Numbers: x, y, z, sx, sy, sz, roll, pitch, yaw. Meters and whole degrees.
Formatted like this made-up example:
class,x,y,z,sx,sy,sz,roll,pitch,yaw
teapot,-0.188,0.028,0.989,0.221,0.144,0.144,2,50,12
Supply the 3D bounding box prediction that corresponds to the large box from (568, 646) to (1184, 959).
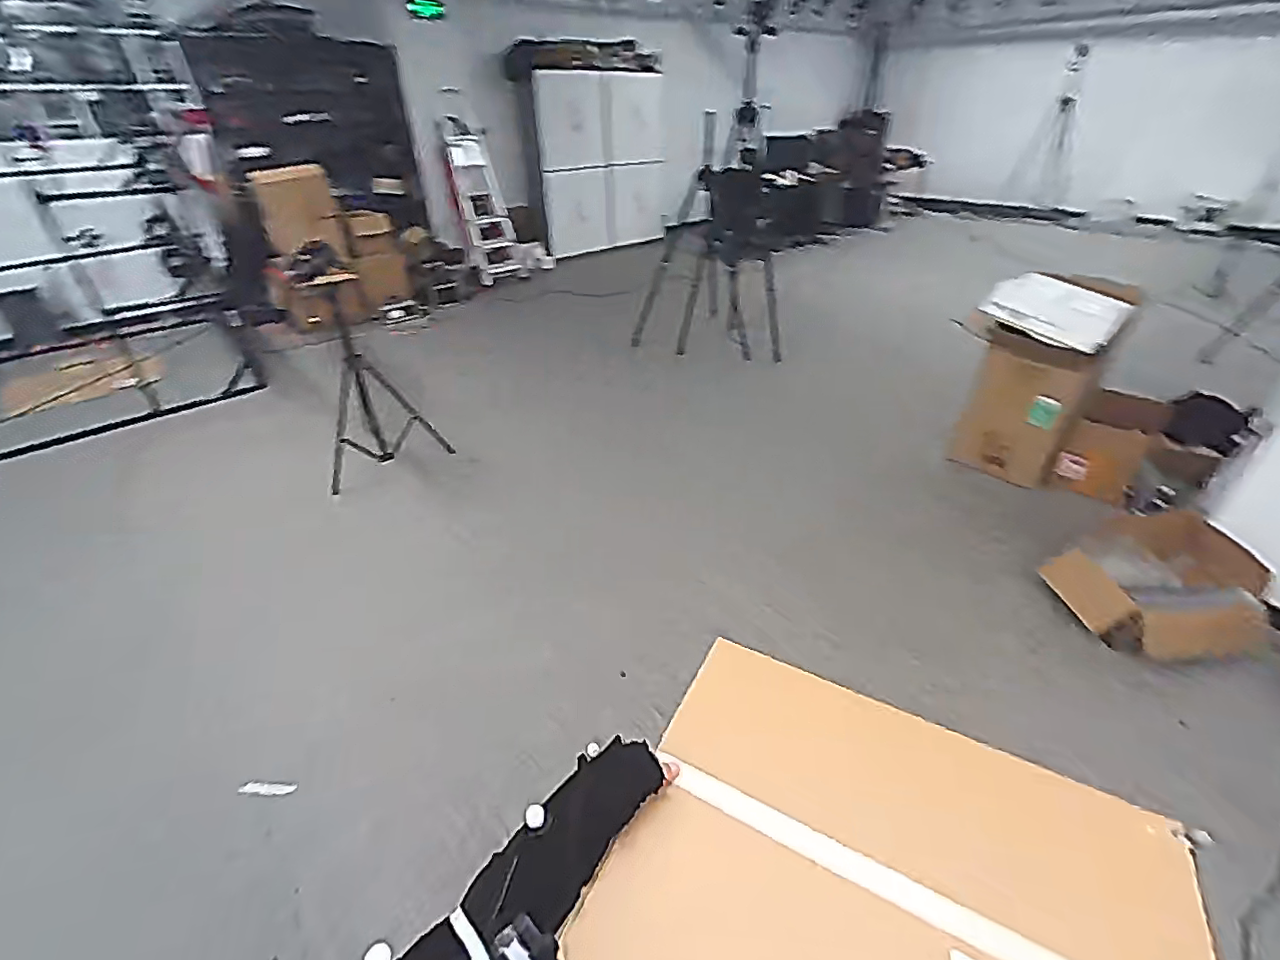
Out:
class,x,y,z,sx,sy,sz,roll,pitch,yaw
large box,0.191,0.435,0.516,0.408,0.320,0.320,16,40,24
